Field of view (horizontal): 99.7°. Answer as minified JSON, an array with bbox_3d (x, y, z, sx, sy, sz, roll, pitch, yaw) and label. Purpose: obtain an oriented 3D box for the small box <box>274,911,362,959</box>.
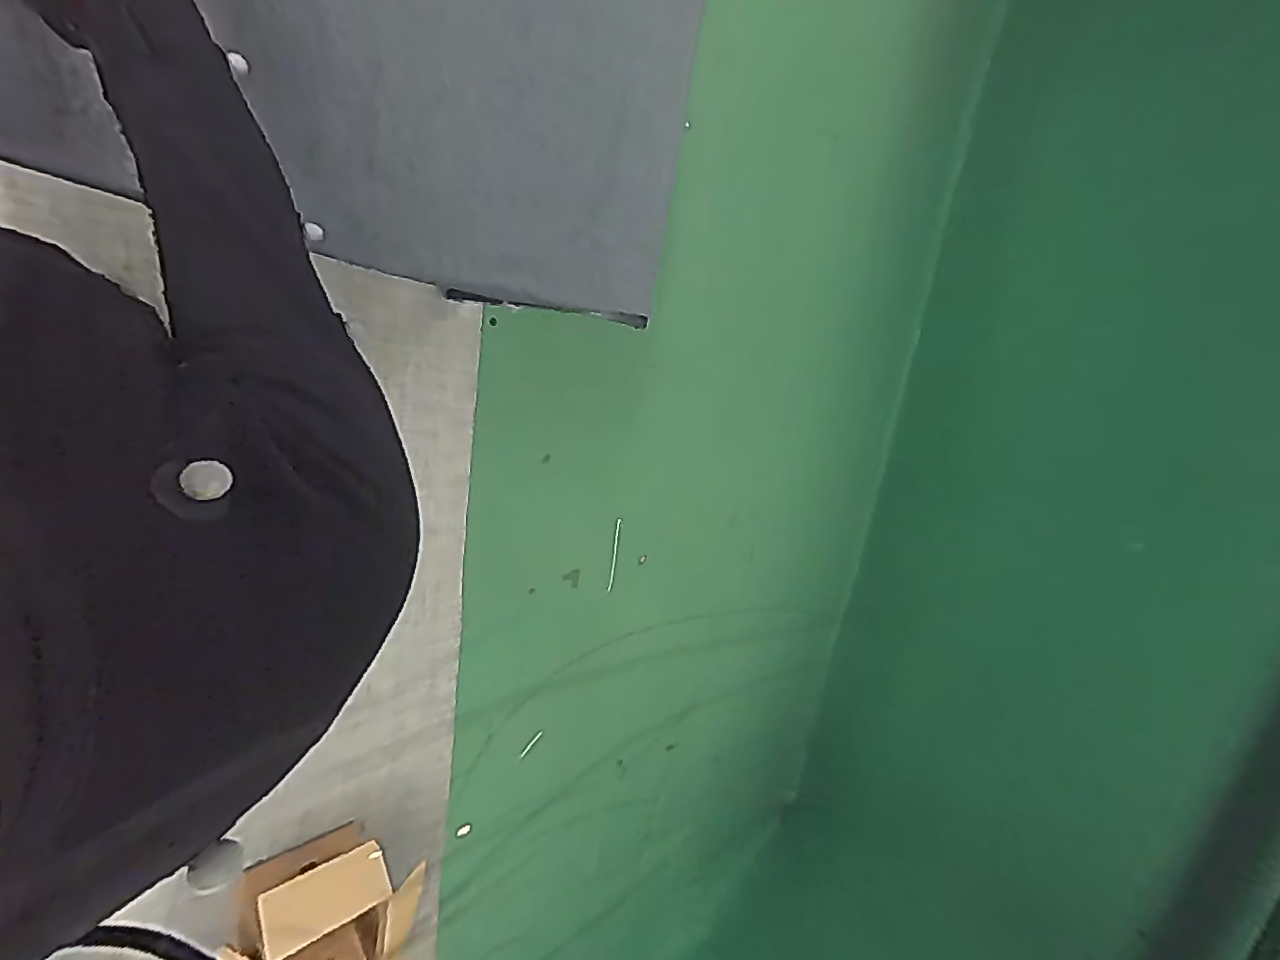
[{"bbox_3d":[-0.878,1.335,1.459,0.179,0.176,0.168,1,105,-45],"label":"small box"}]
